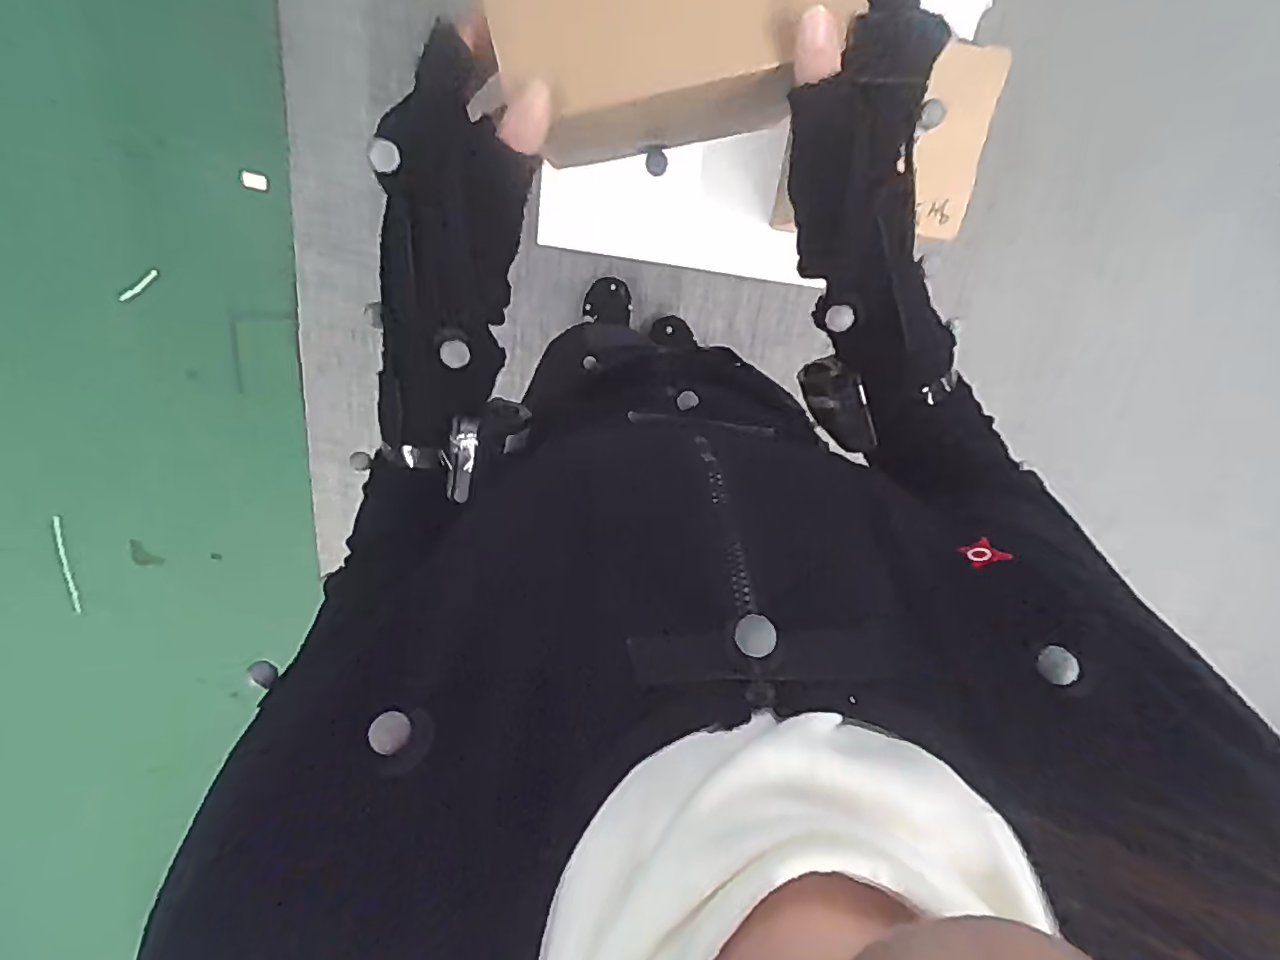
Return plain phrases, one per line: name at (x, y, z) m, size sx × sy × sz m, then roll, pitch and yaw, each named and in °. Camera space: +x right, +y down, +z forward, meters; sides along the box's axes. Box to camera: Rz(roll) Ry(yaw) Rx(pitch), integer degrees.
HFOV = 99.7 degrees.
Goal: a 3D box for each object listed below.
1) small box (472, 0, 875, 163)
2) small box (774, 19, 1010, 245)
small box at (0.002, -0.282, 0.271) m, size 0.168 × 0.176 × 0.179 m, roll -10°, pitch 114°, yaw 4°
small box at (0.269, -0.381, 0.626) m, size 0.168 × 0.176 × 0.179 m, roll 6°, pitch 111°, yaw -5°
